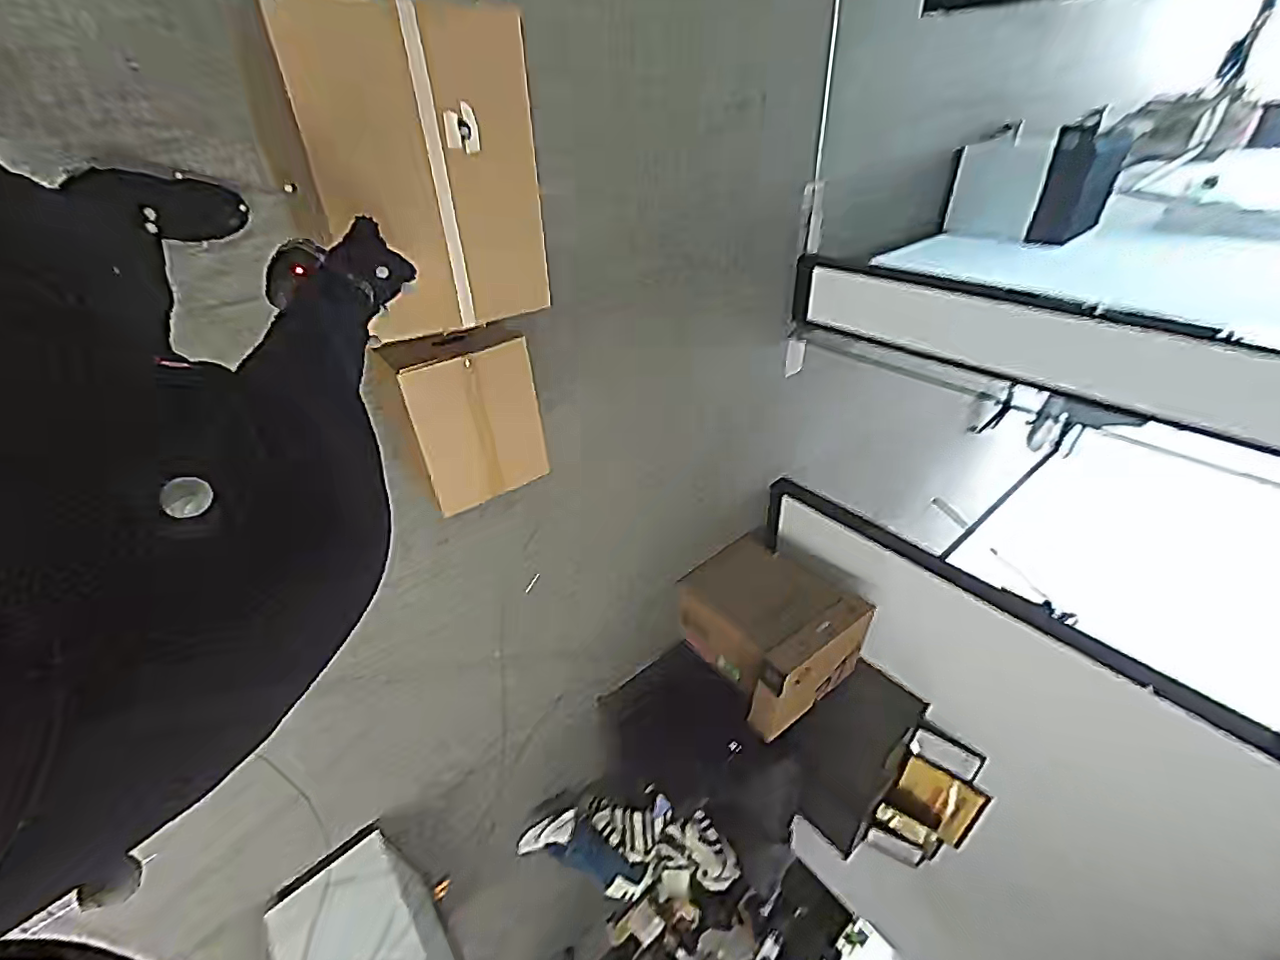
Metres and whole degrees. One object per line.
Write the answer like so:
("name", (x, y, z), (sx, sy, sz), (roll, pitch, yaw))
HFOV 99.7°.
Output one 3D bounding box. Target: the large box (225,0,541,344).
("large box", (-0.387, -0.477, 0.857), (0.320, 0.320, 0.408), (-24, 129, -30))
